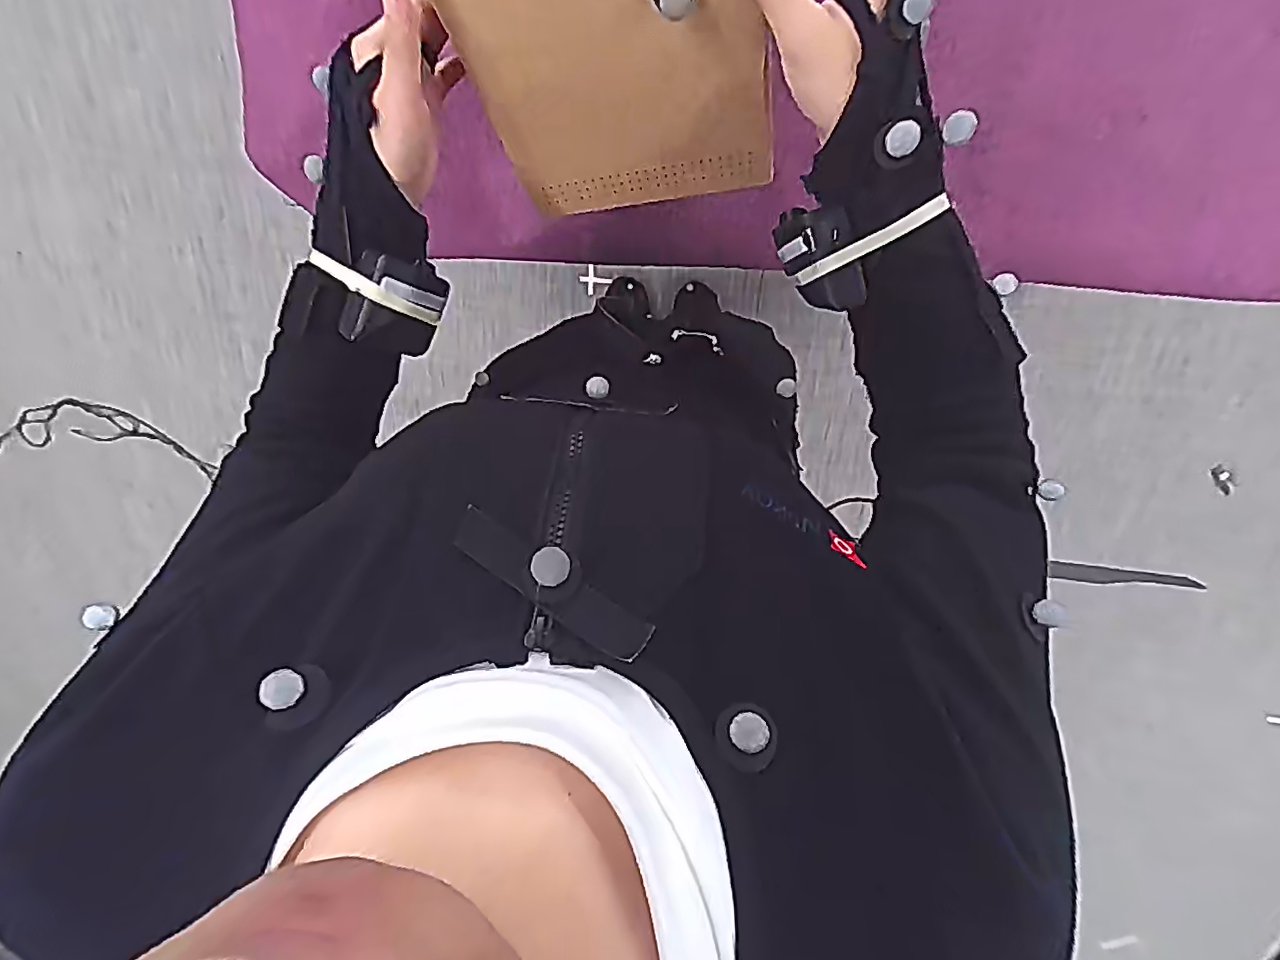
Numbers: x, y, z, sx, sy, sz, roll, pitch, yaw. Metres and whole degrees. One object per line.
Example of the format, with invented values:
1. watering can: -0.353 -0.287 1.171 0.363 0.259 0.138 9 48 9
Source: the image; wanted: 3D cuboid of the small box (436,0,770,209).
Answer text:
1. small box: -0.005 -0.309 0.351 0.179 0.176 0.168 -1 68 14
